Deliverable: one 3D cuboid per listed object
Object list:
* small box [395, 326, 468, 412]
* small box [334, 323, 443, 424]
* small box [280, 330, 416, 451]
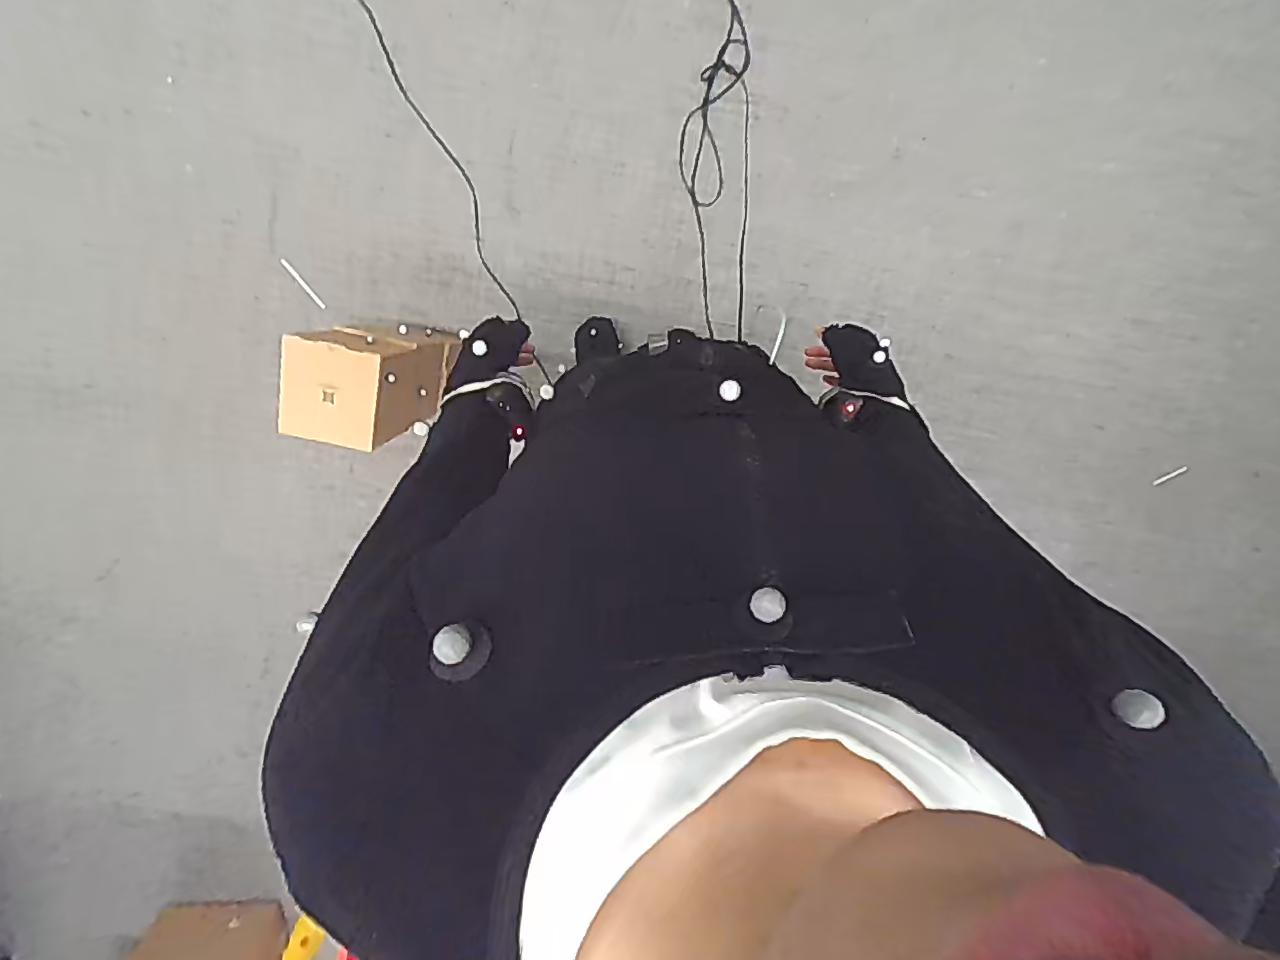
[{"bbox_3d":[-0.534,-0.278,1.318,0.179,0.176,0.168,12,107,-5],"label":"small box"},{"bbox_3d":[-0.537,-0.230,1.160,0.168,0.176,0.179,12,106,-5],"label":"small box"},{"bbox_3d":[-0.536,-0.173,1.008,0.168,0.176,0.179,12,106,-5],"label":"small box"}]
